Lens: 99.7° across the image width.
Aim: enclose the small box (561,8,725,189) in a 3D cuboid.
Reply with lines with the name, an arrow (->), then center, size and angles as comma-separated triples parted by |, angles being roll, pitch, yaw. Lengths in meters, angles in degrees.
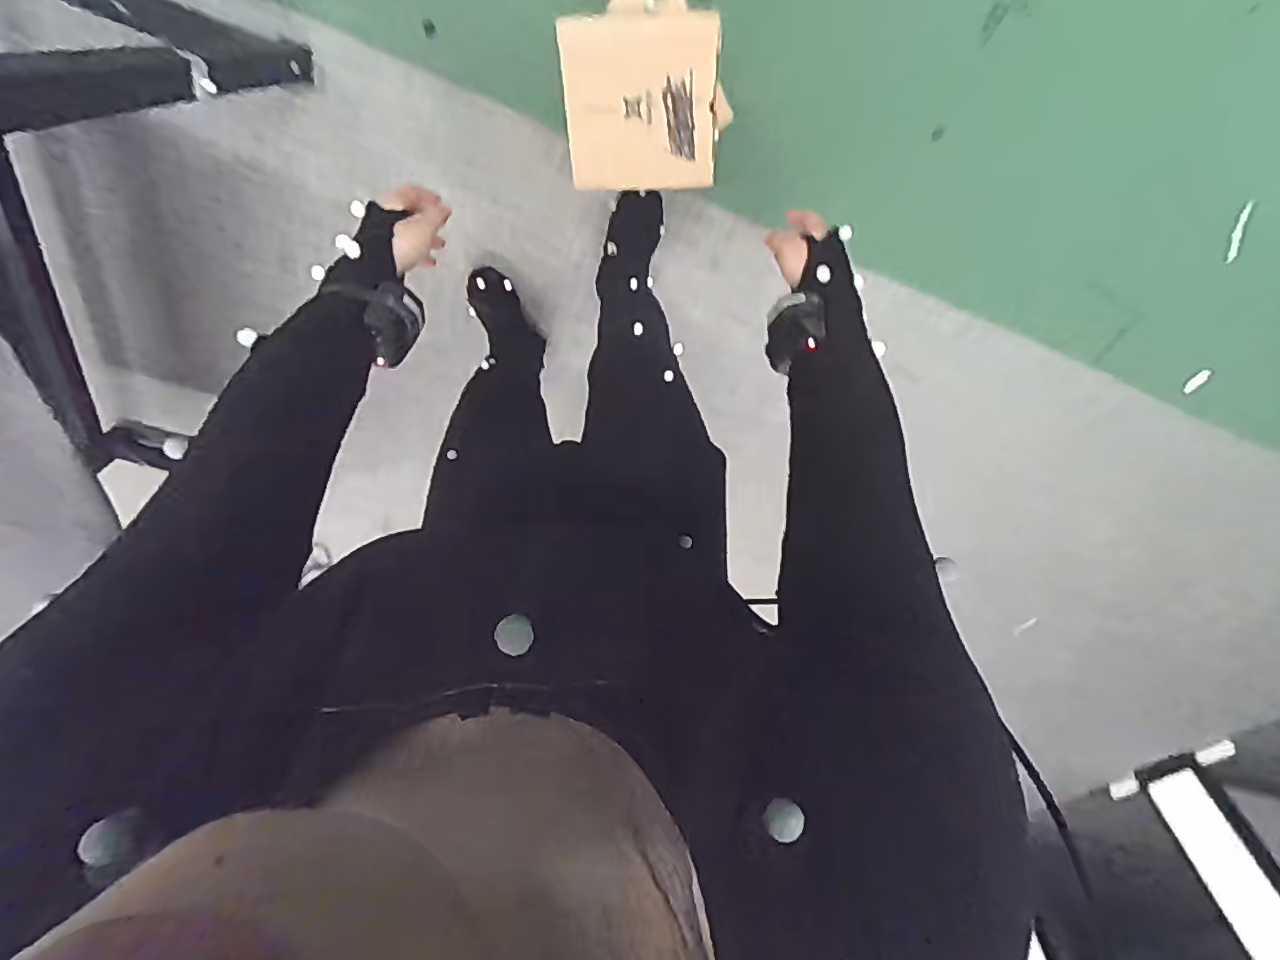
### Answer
small box -> 0.007, -0.477, 0.675 | 0.179, 0.176, 0.168 | 1, 132, 3
